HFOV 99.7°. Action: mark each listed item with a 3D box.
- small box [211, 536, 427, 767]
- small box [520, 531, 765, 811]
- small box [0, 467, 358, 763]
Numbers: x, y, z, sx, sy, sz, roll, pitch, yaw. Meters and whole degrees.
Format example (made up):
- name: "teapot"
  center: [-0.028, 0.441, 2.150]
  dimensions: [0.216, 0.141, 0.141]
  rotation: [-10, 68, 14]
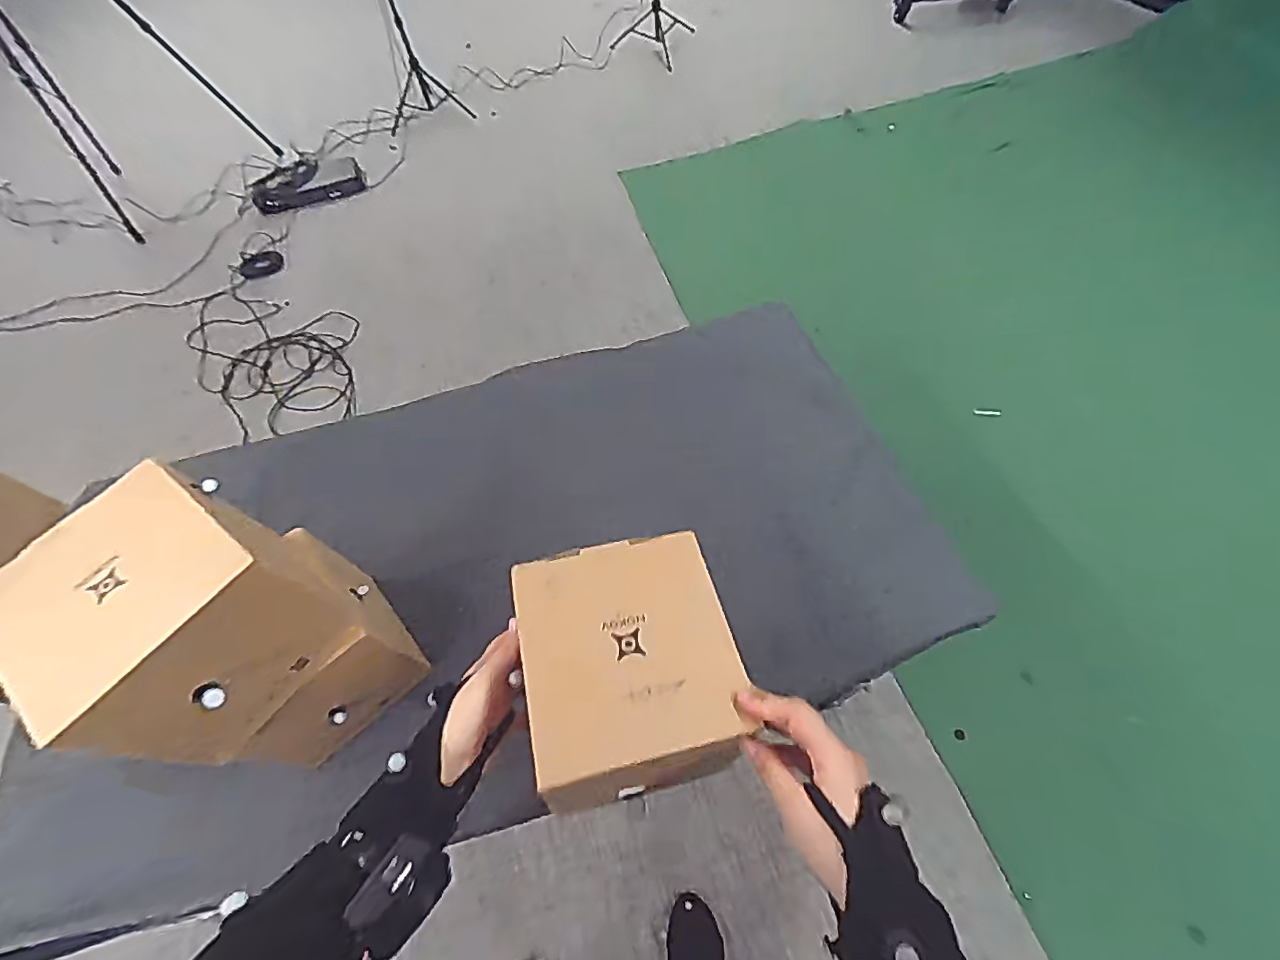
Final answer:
- name: "small box"
  center: [-0.382, 0.203, 0.626]
  dimensions: [0.168, 0.176, 0.179]
  rotation: [-39, 63, -18]
- name: "small box"
  center: [-0.010, 0.173, 0.490]
  dimensions: [0.168, 0.176, 0.179]
  rotation: [-10, 53, -10]
- name: "small box"
  center: [-0.400, 0.126, 0.484]
  dimensions: [0.179, 0.176, 0.168]
  rotation: [30, 66, 22]
